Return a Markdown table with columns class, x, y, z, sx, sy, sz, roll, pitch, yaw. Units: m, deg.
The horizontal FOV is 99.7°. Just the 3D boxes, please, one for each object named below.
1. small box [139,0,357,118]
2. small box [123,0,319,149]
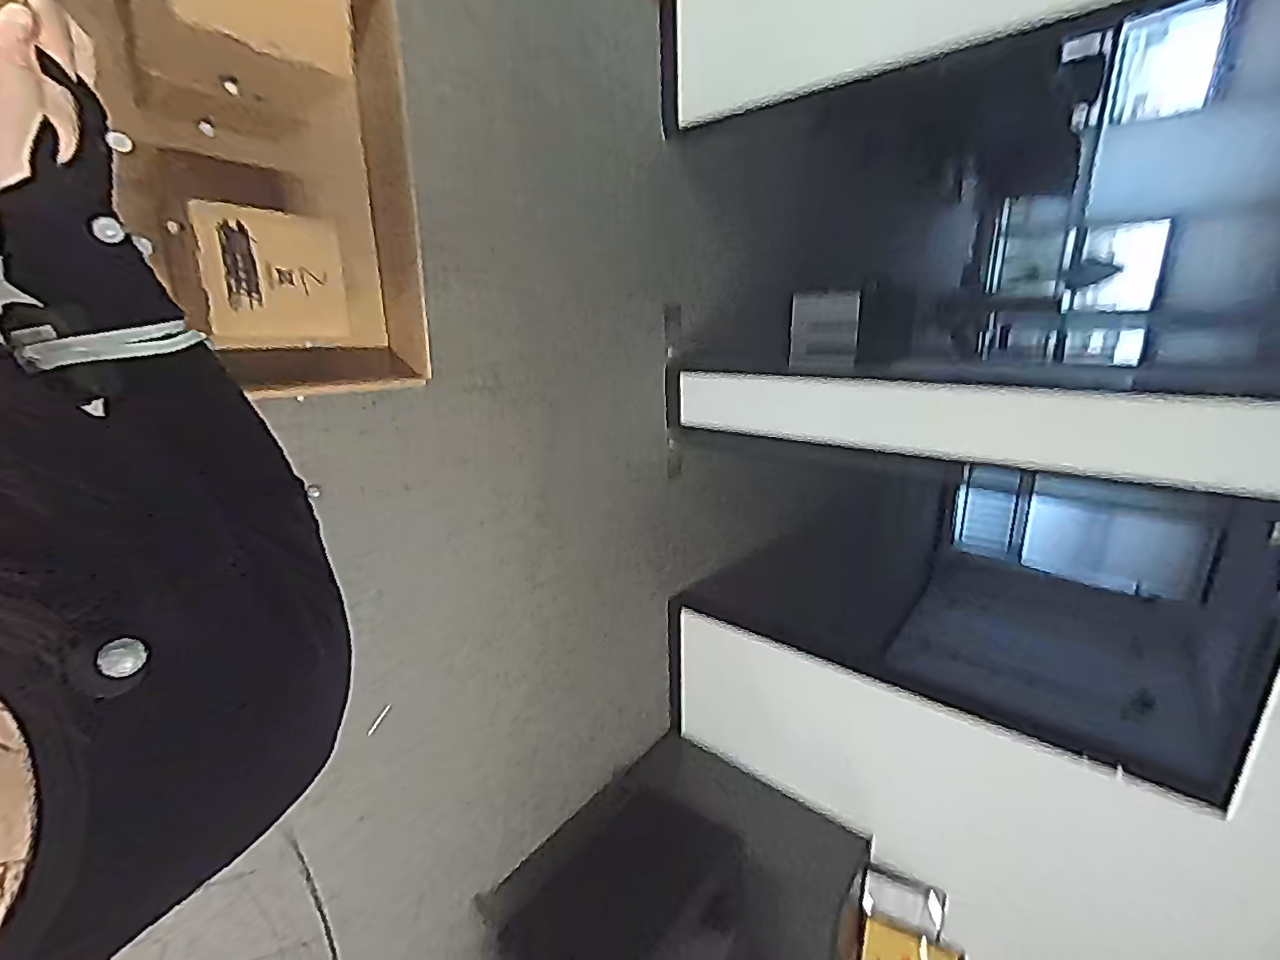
| class | x | y | z | sx | sy | sz | roll | pitch | yaw |
| --- | --- | --- | --- | --- | --- | --- | --- | --- | --- |
| small box | -0.444 | -0.546 | 0.607 | 0.168 | 0.176 | 0.179 | -13 | 111 | -48 |
| small box | -0.557 | -0.574 | 0.720 | 0.168 | 0.176 | 0.179 | -14 | 111 | -48 |
